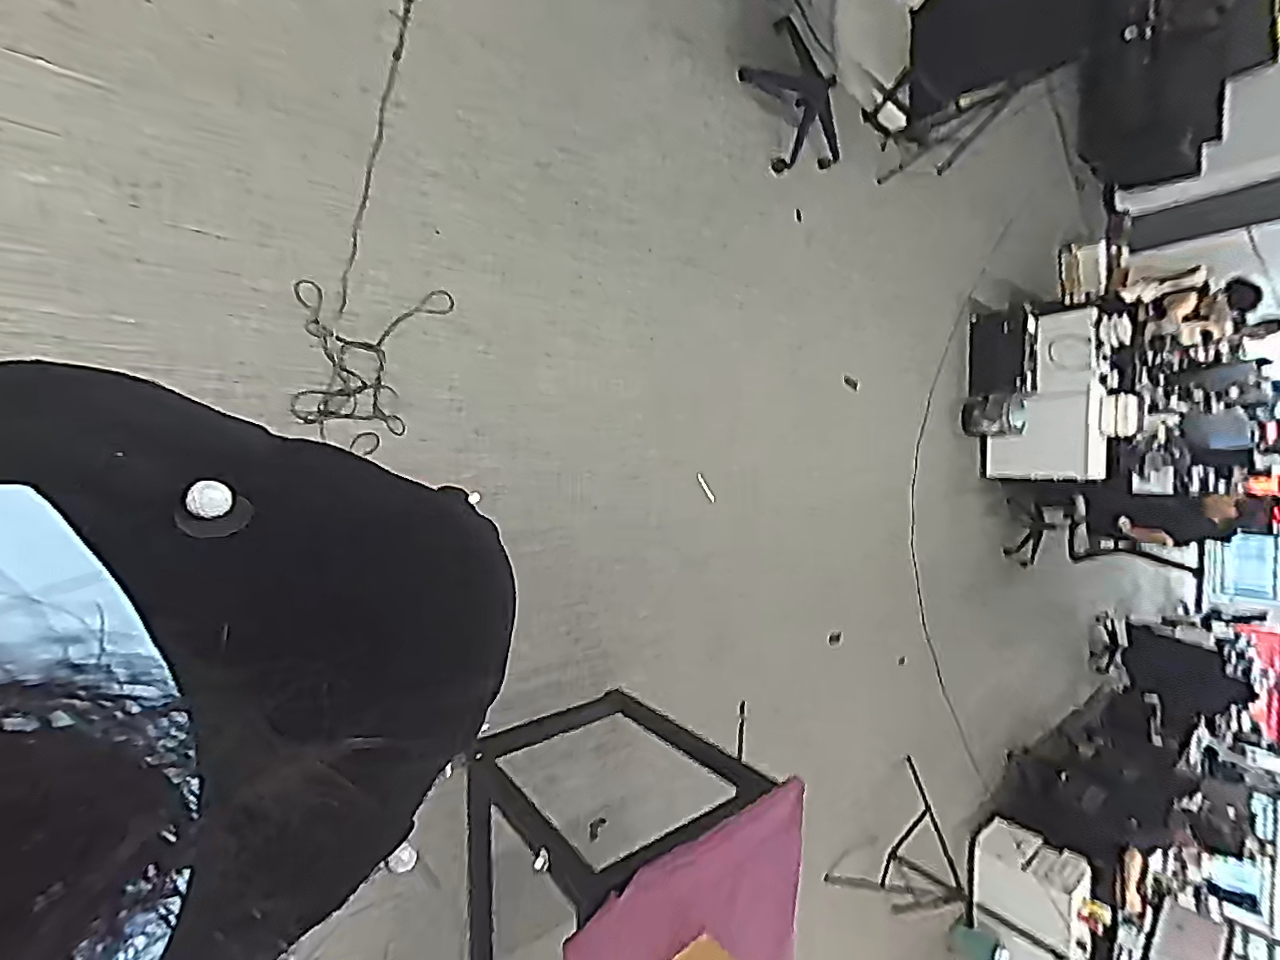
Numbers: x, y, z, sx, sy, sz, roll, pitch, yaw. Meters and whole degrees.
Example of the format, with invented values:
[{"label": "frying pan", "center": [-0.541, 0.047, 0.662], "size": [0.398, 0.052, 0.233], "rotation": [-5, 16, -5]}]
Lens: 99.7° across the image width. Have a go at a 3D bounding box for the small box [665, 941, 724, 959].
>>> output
[{"label": "small box", "center": [0.112, 1.061, 1.055], "size": [0.168, 0.176, 0.179], "rotation": [-4, 95, -38]}]
